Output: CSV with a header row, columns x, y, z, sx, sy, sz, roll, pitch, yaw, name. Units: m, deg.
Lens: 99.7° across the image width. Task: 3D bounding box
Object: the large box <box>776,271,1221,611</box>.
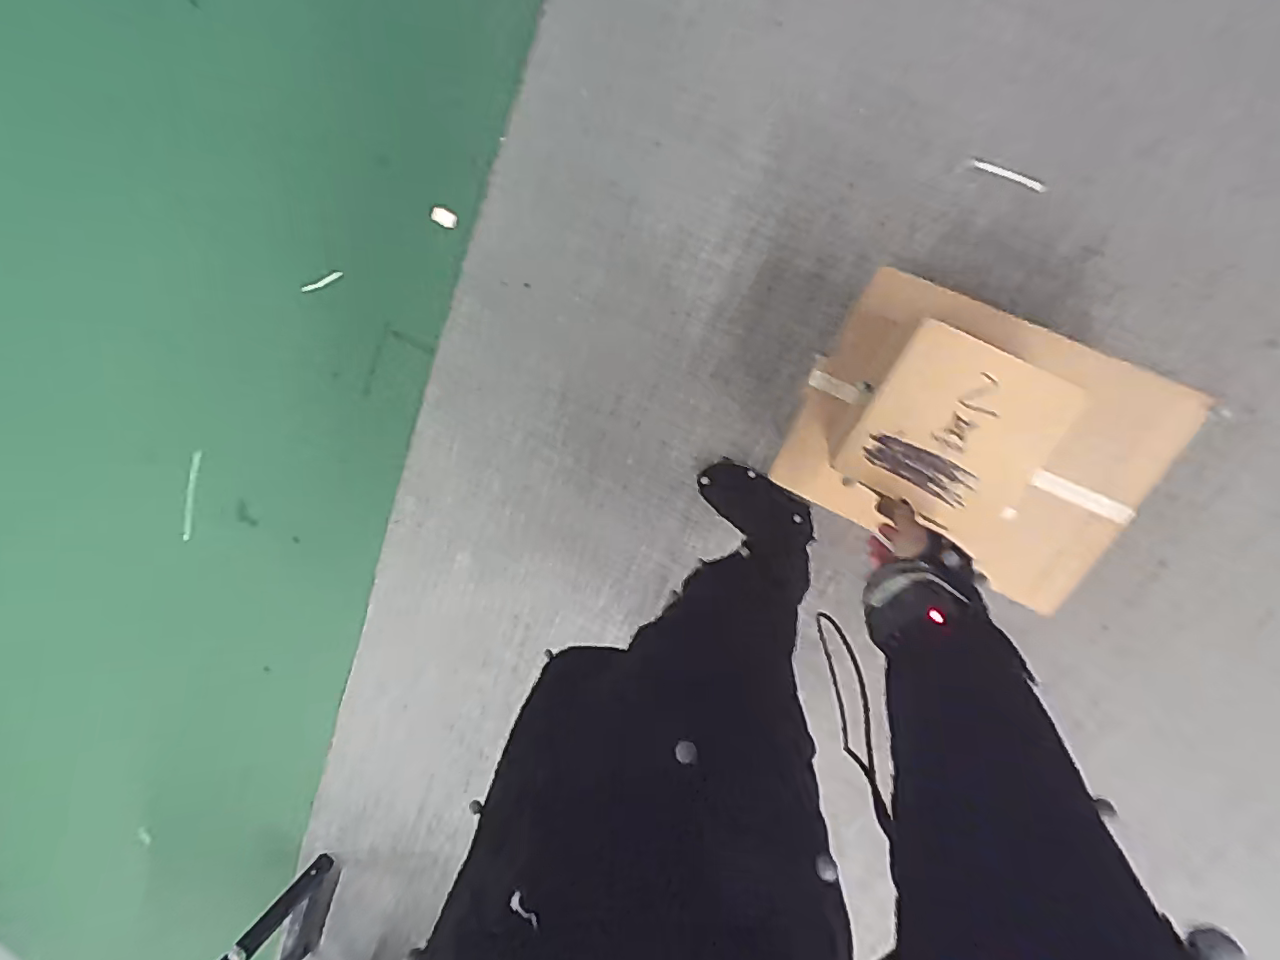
x,y,z,sx,sy,sz,roll,pitch,yaw,name
0.460,-0.078,0.822,0.408,0.320,0.320,27,111,9,large box
